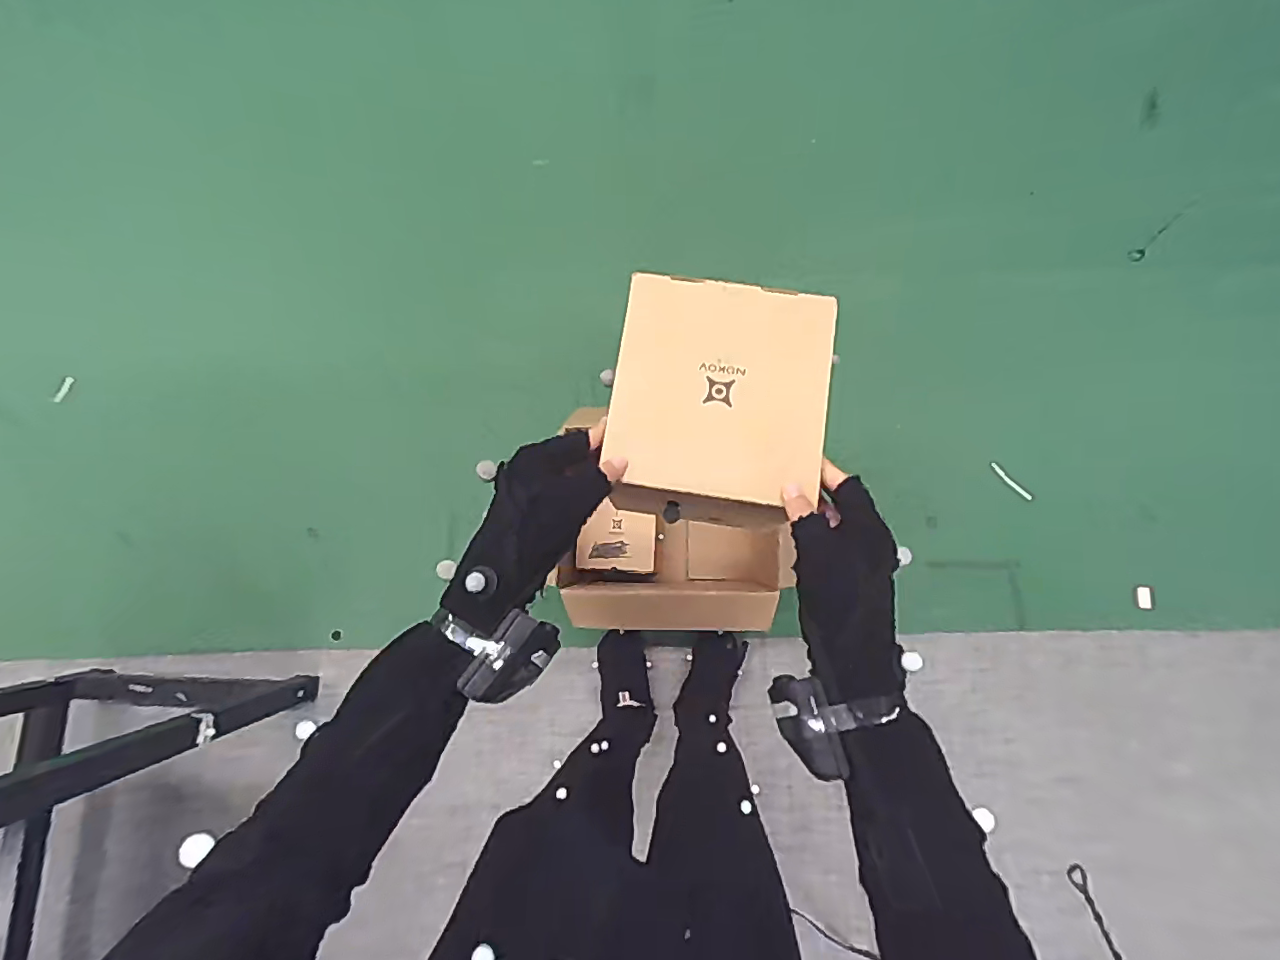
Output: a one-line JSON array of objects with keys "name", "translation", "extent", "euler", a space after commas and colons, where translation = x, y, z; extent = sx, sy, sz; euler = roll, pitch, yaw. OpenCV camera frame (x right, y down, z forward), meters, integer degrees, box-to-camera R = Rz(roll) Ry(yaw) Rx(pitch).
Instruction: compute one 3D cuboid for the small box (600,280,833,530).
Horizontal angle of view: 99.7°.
[{"name": "small box", "translation": [0.066, -0.055, 0.504], "extent": [0.168, 0.176, 0.179], "euler": [8, 78, 4]}]
